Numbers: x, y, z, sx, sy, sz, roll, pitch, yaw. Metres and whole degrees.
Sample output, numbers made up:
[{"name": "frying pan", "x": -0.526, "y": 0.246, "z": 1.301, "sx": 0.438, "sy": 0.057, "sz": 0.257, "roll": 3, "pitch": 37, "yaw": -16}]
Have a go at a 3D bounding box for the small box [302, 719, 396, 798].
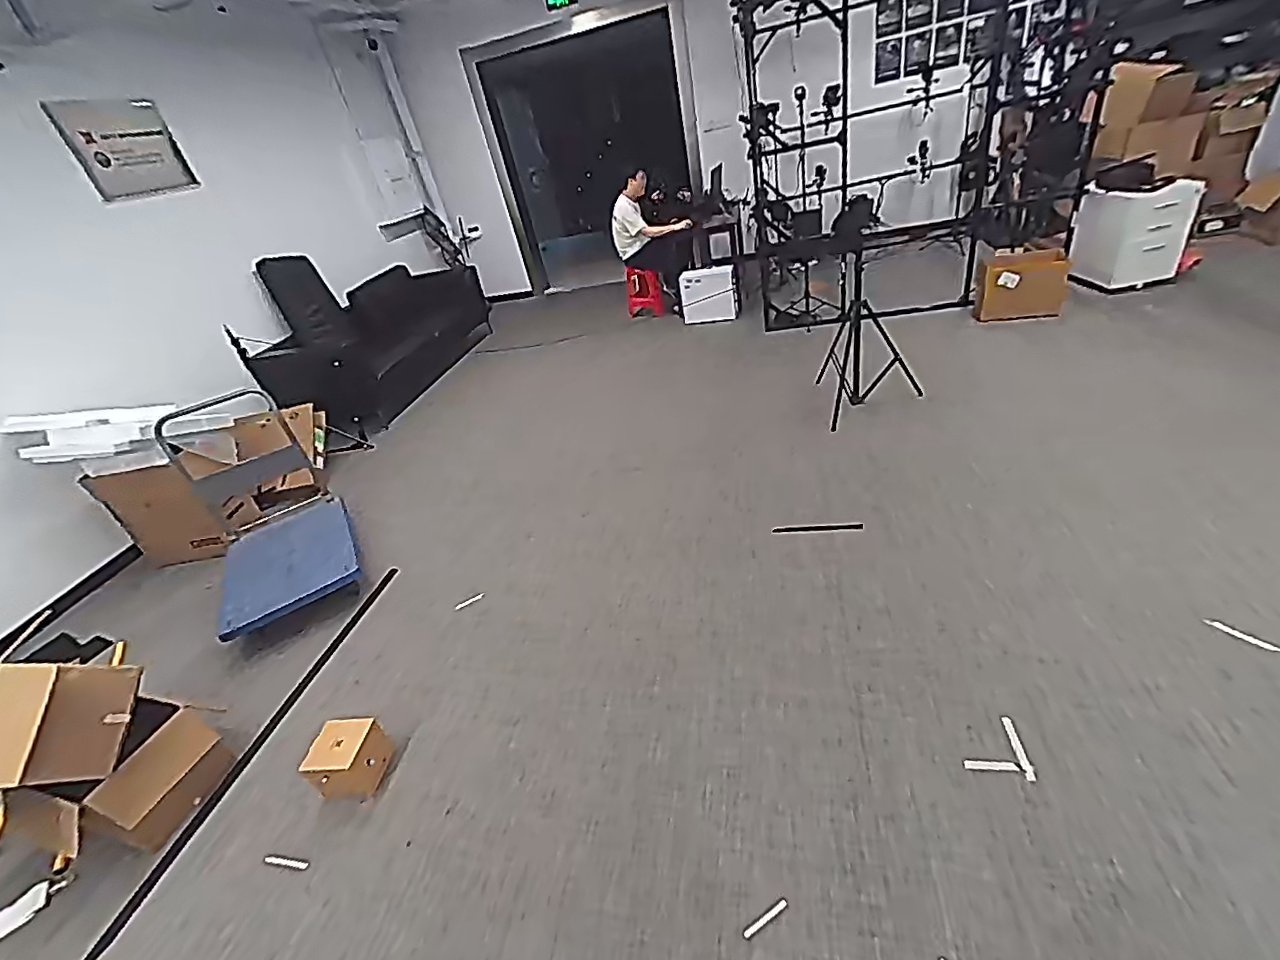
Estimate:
[{"name": "small box", "x": -0.916, "y": 0.888, "z": 1.722, "sx": 0.179, "sy": 0.176, "sz": 0.168, "roll": -8, "pitch": 33, "yaw": 10}]
